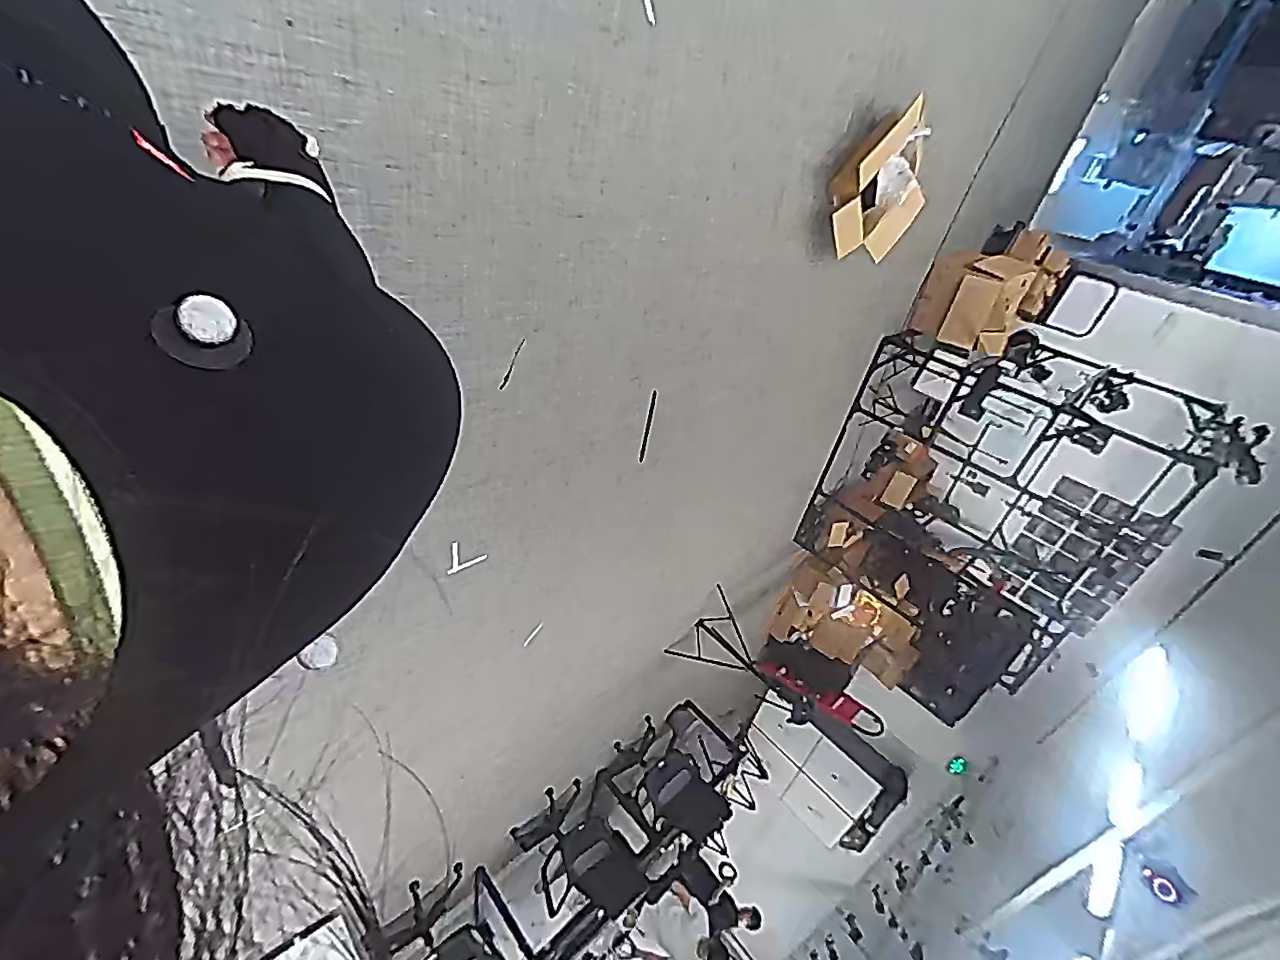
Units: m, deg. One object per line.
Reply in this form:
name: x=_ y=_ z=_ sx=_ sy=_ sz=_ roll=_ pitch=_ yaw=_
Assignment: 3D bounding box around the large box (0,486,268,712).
large box: x=-1.166 y=0.247 z=1.277 sx=0.408 sy=0.320 sz=0.320 roll=-14 pitch=131 yaw=-46
